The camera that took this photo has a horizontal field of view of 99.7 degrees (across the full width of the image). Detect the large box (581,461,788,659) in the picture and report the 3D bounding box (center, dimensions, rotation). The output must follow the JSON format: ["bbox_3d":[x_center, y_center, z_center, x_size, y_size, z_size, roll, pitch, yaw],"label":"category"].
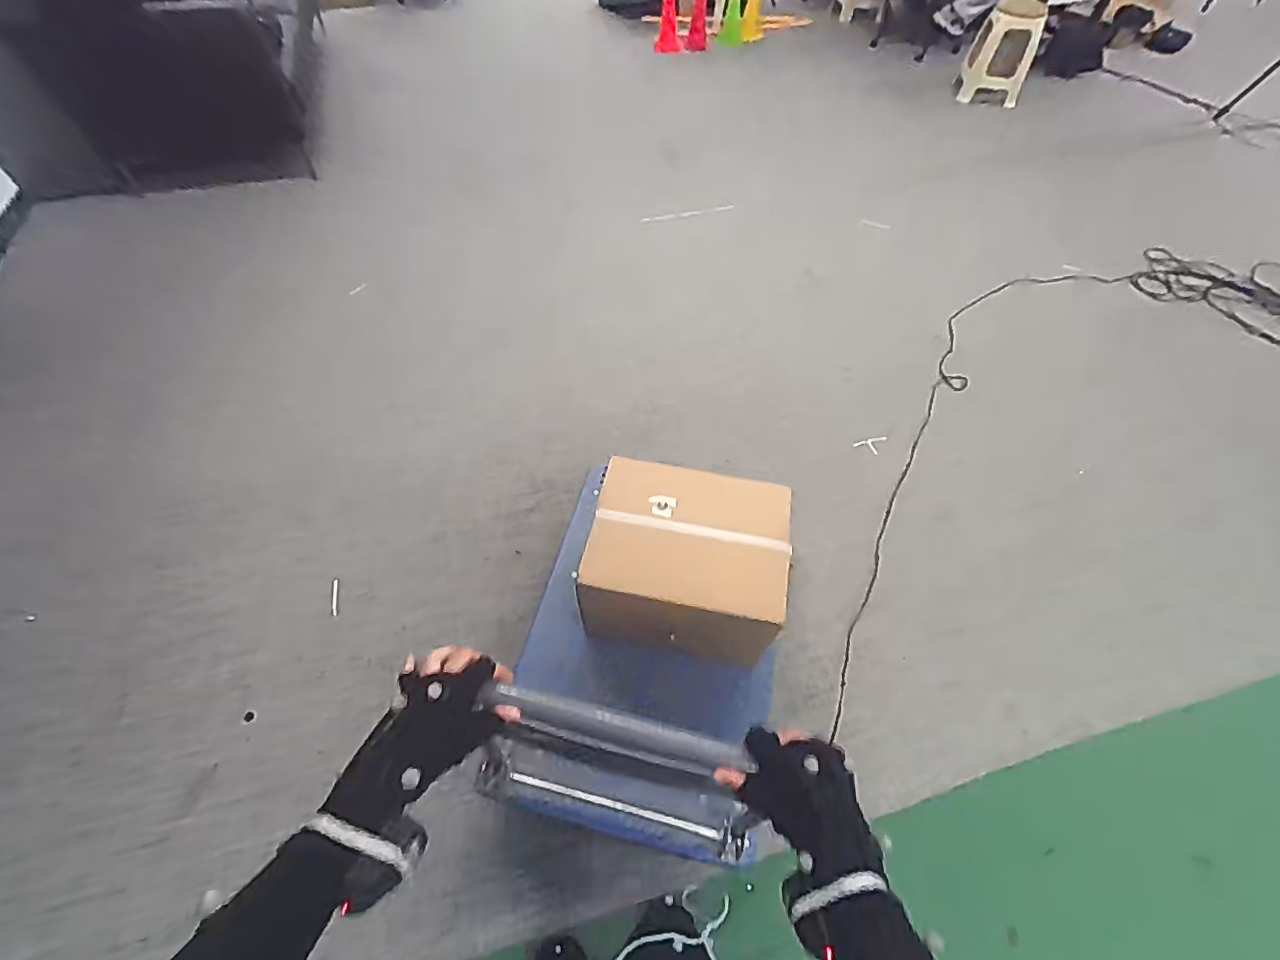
[{"bbox_3d":[0.106,0.189,1.238,0.408,0.320,0.320,9,55,6],"label":"large box"}]
